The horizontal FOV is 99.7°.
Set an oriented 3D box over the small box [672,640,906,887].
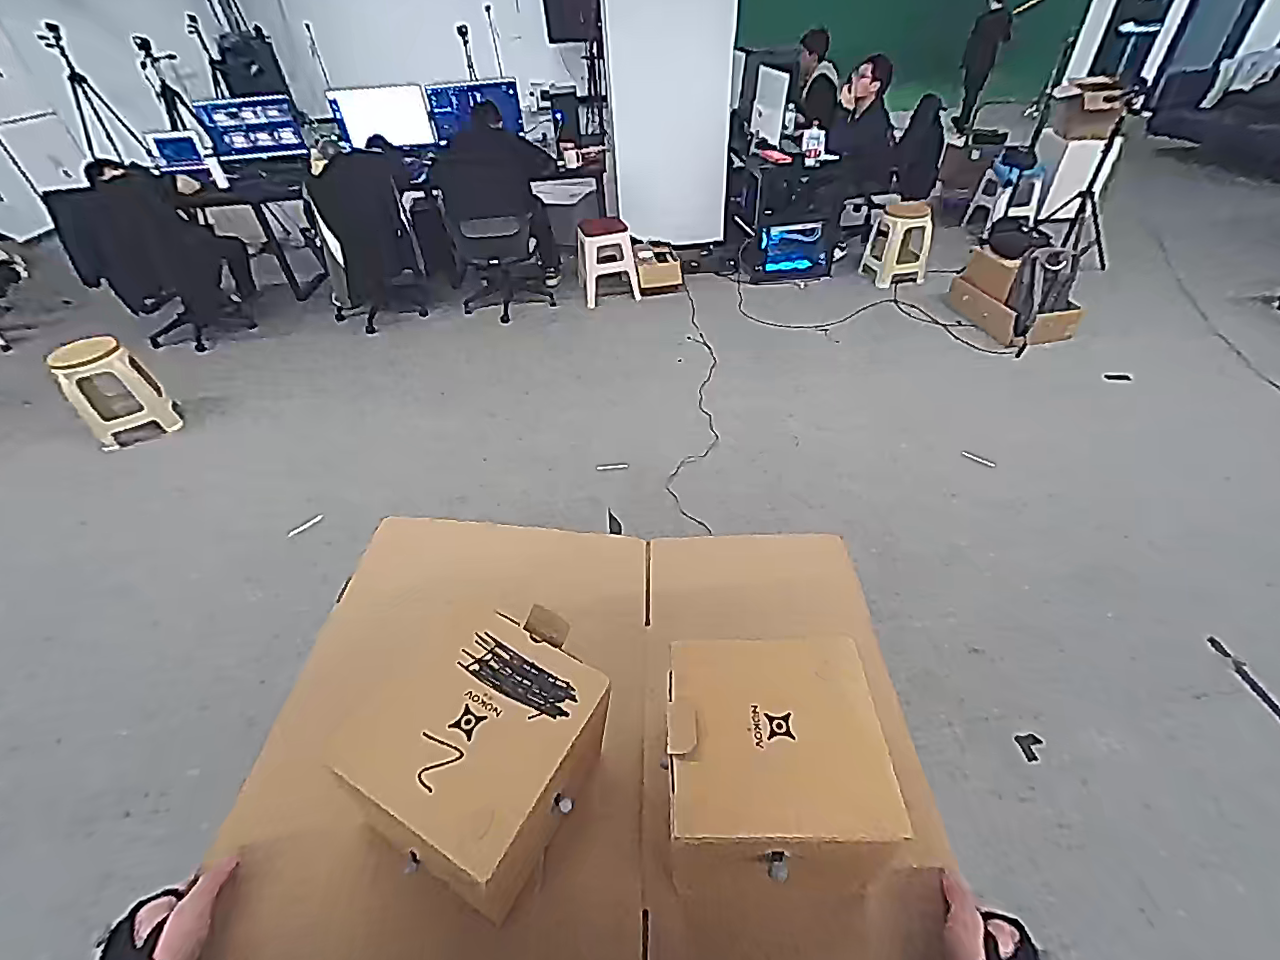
[{"bbox_3d":[0.121,0.271,0.519,0.179,0.176,0.168,-3,42,4],"label":"small box"}]
